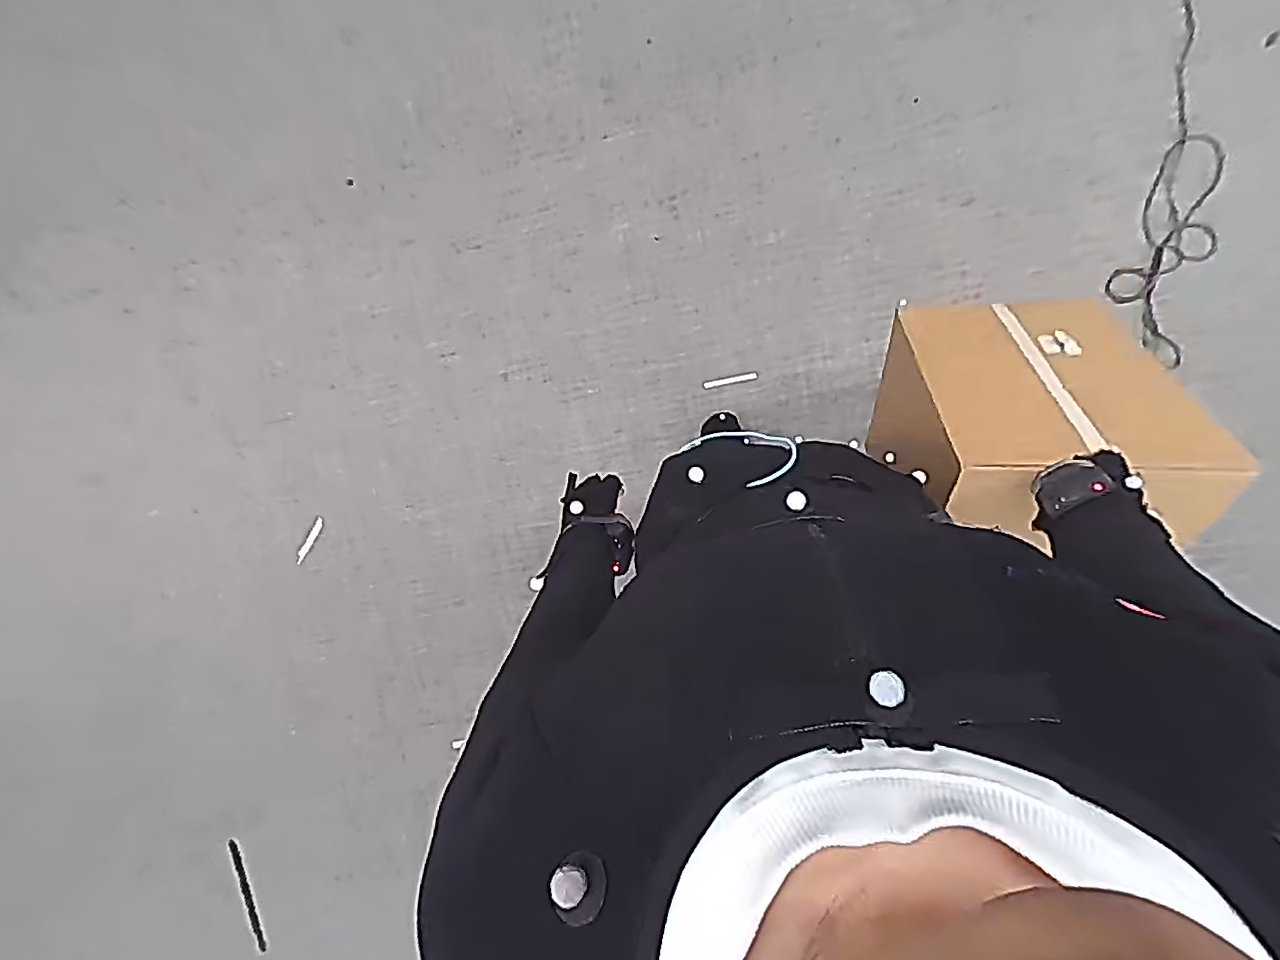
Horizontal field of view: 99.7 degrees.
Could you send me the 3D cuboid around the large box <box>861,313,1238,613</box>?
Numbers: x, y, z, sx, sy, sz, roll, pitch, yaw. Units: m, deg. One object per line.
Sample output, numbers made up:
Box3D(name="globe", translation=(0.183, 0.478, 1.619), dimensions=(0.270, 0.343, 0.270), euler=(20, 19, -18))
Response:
Box3D(name="large box", translation=(0.581, -0.037, 0.888), dimensions=(0.320, 0.408, 0.320), euler=(2, 133, 8))
